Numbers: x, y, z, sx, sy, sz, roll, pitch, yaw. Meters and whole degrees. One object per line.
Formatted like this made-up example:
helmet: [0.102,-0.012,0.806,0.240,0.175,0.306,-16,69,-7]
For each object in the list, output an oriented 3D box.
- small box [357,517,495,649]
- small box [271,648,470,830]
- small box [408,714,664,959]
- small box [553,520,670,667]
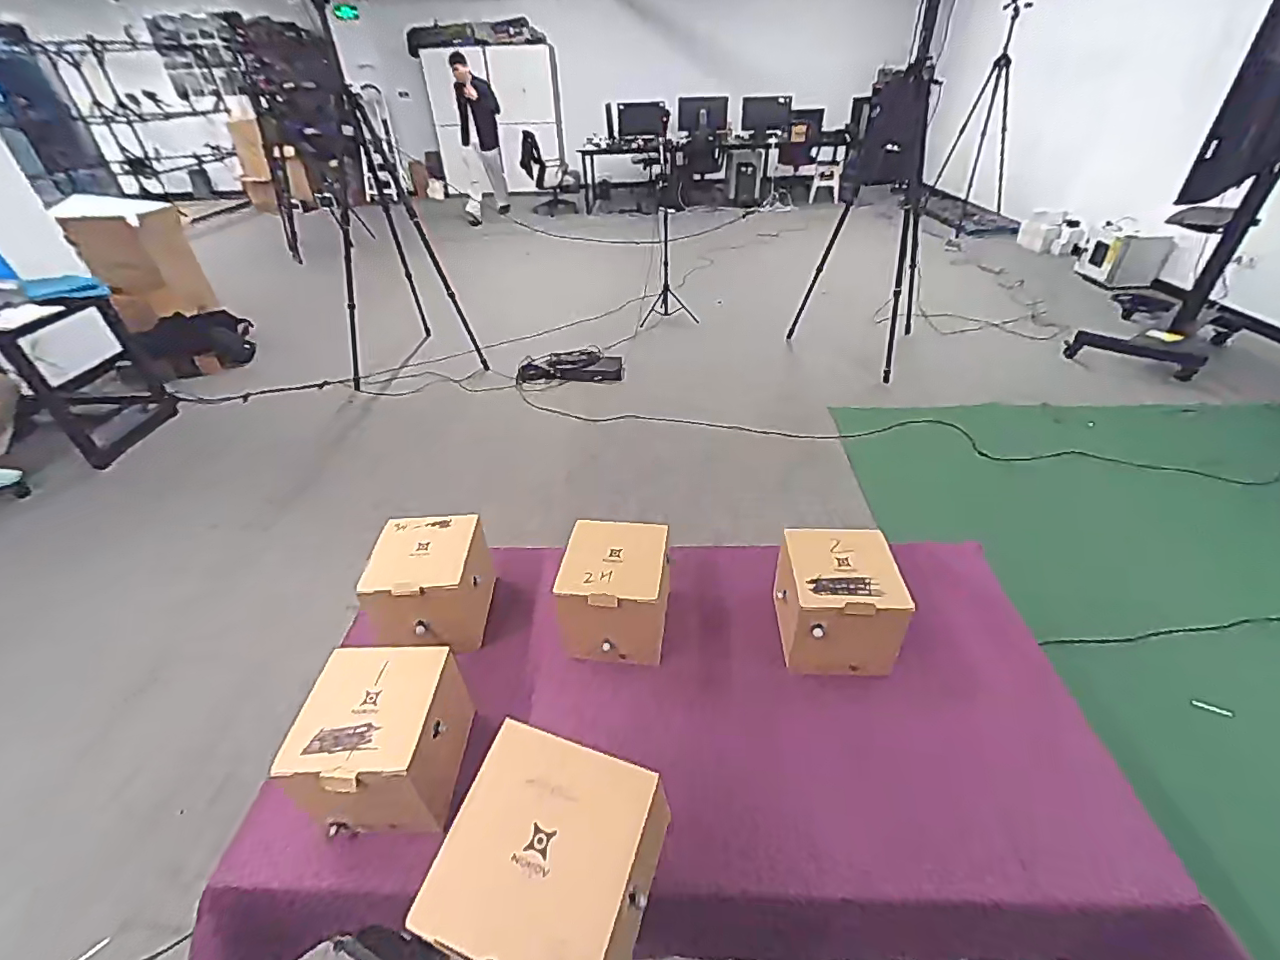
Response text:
small box: [-0.365,0.188,0.964,0.168,0.176,0.179,-3,38,-1]
small box: [-0.346,0.355,0.740,0.168,0.176,0.179,-1,36,1]
small box: [-0.080,0.368,0.531,0.168,0.176,0.179,12,51,18]
small box: [-0.040,0.194,0.935,0.168,0.176,0.179,3,38,8]
